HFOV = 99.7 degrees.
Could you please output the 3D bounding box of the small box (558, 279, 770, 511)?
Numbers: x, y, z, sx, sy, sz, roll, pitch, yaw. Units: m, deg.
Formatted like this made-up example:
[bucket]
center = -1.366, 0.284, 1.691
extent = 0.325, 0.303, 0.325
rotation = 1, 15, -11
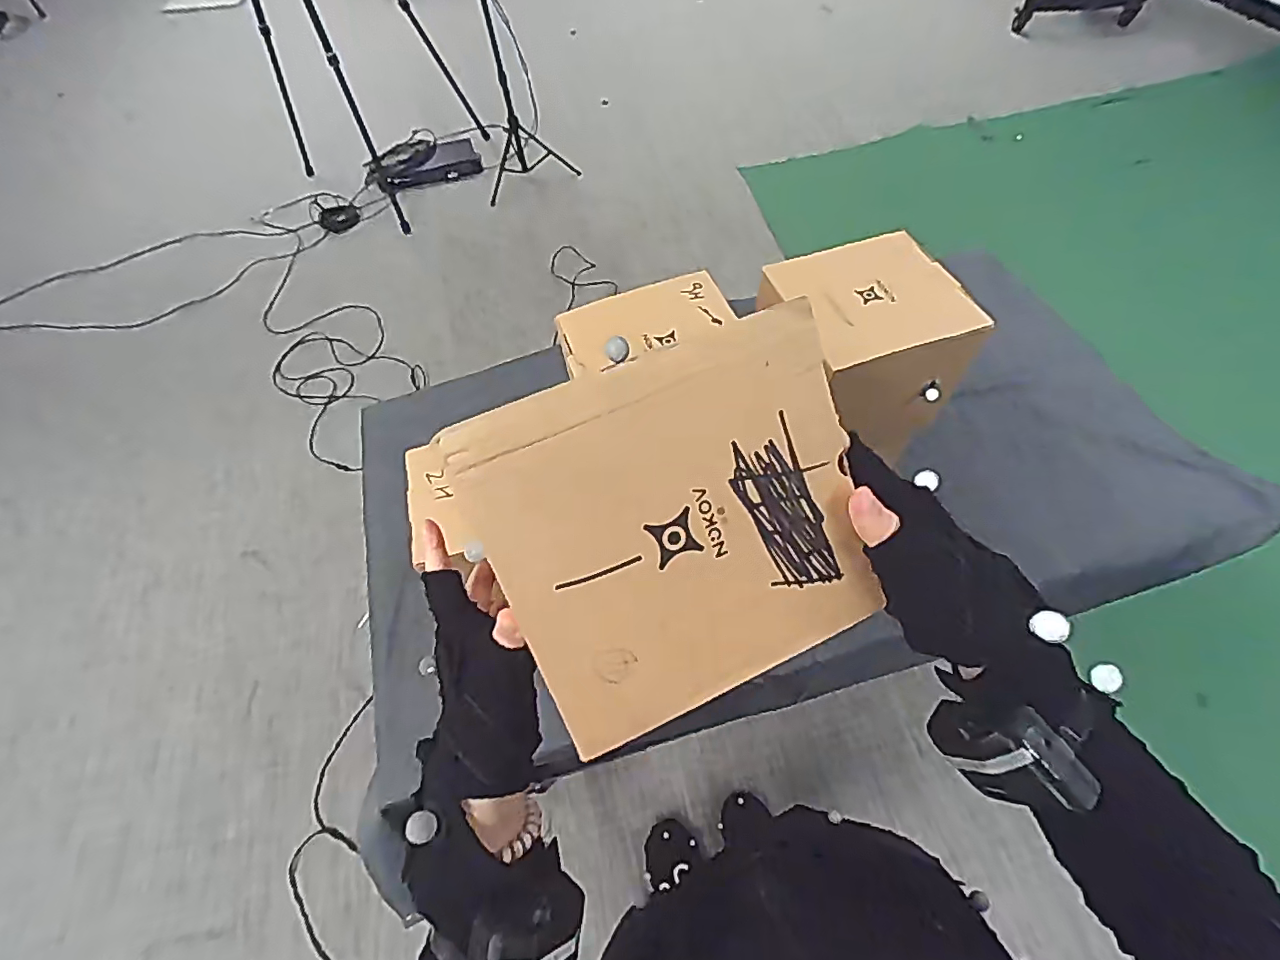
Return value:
[small box]
center = 0.026, -0.089, 0.615
extent = 0.179, 0.176, 0.168
rotation = -20, 60, -7
